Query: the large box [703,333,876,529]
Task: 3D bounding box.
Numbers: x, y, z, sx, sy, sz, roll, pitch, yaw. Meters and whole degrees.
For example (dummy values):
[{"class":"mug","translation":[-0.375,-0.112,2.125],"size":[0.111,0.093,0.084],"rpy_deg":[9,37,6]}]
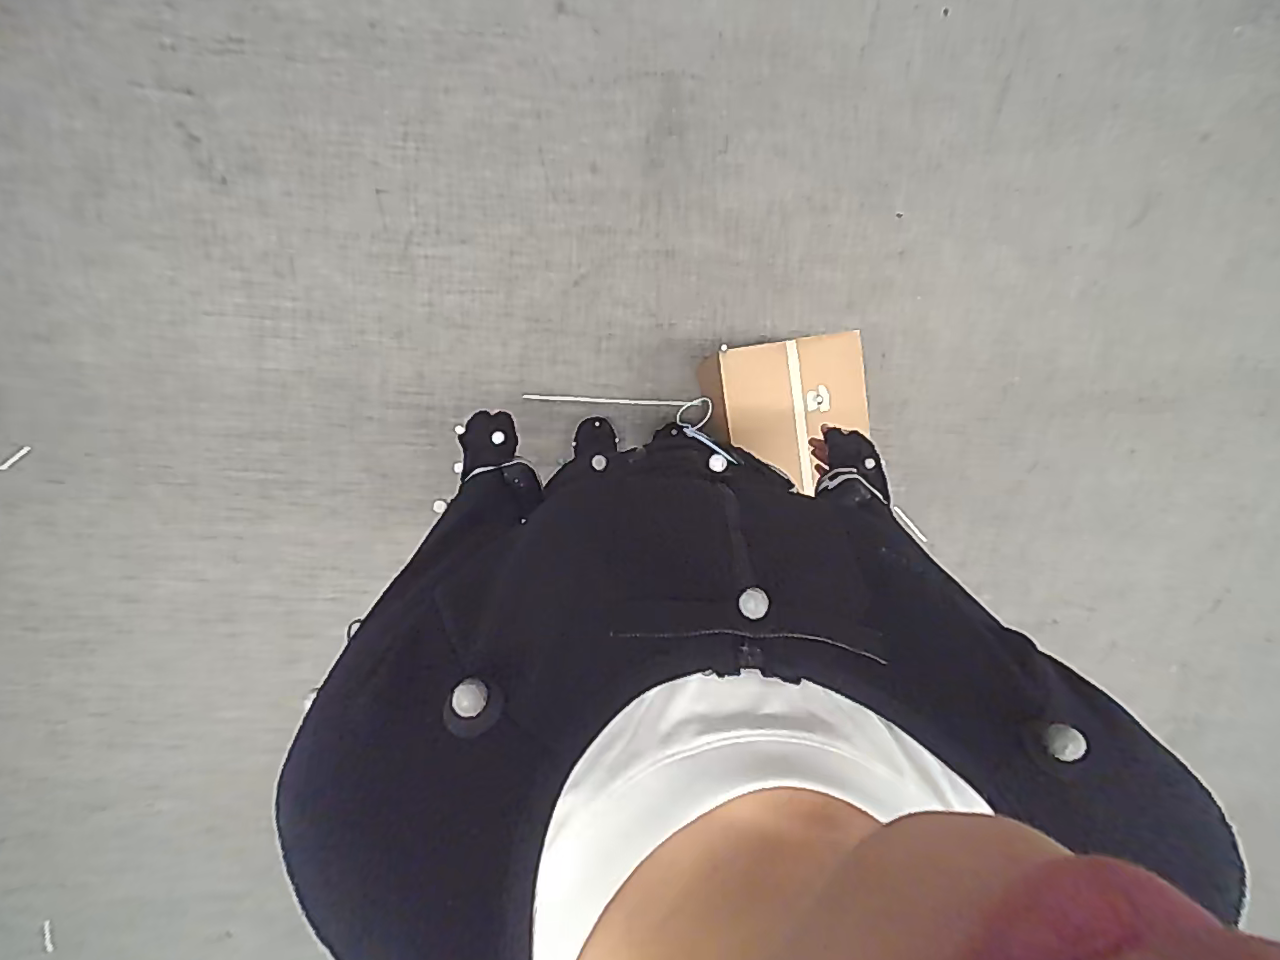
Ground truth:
[{"class":"large box","translation":[0.352,-0.122,1.354],"size":[0.320,0.320,0.408],"rpy_deg":[-9,97,-1]}]
